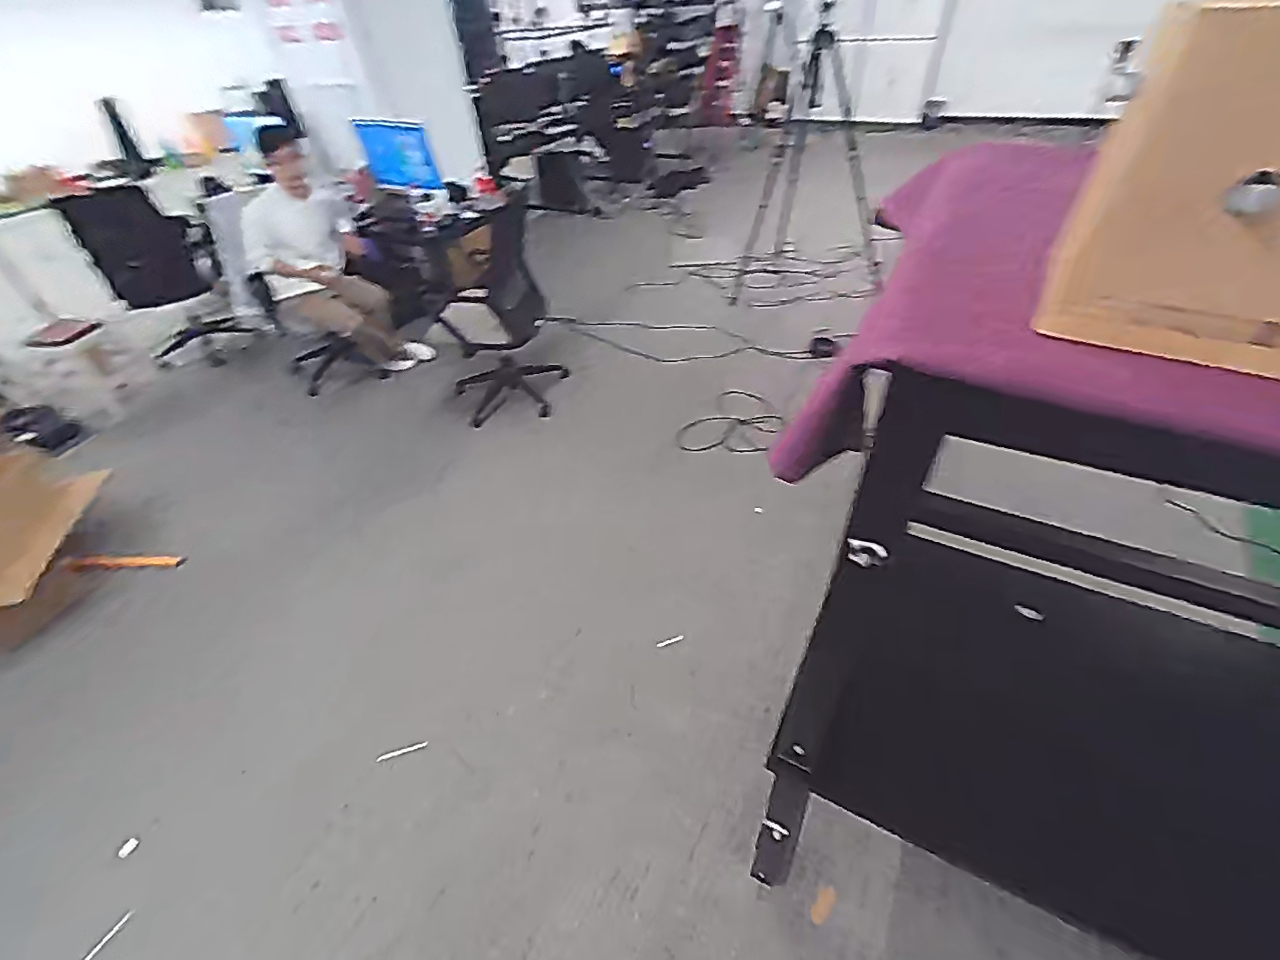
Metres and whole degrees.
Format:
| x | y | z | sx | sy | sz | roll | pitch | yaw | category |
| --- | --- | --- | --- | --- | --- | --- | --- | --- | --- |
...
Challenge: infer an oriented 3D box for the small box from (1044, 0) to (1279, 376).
| x | y | z | sx | sy | sz | roll | pitch | yaw | category |
| --- | --- | --- | --- | --- | --- | --- | --- | --- | --- |
| 0.369 | -0.177 | 0.319 | 0.168 | 0.176 | 0.179 | 21 | 46 | 27 | small box |
